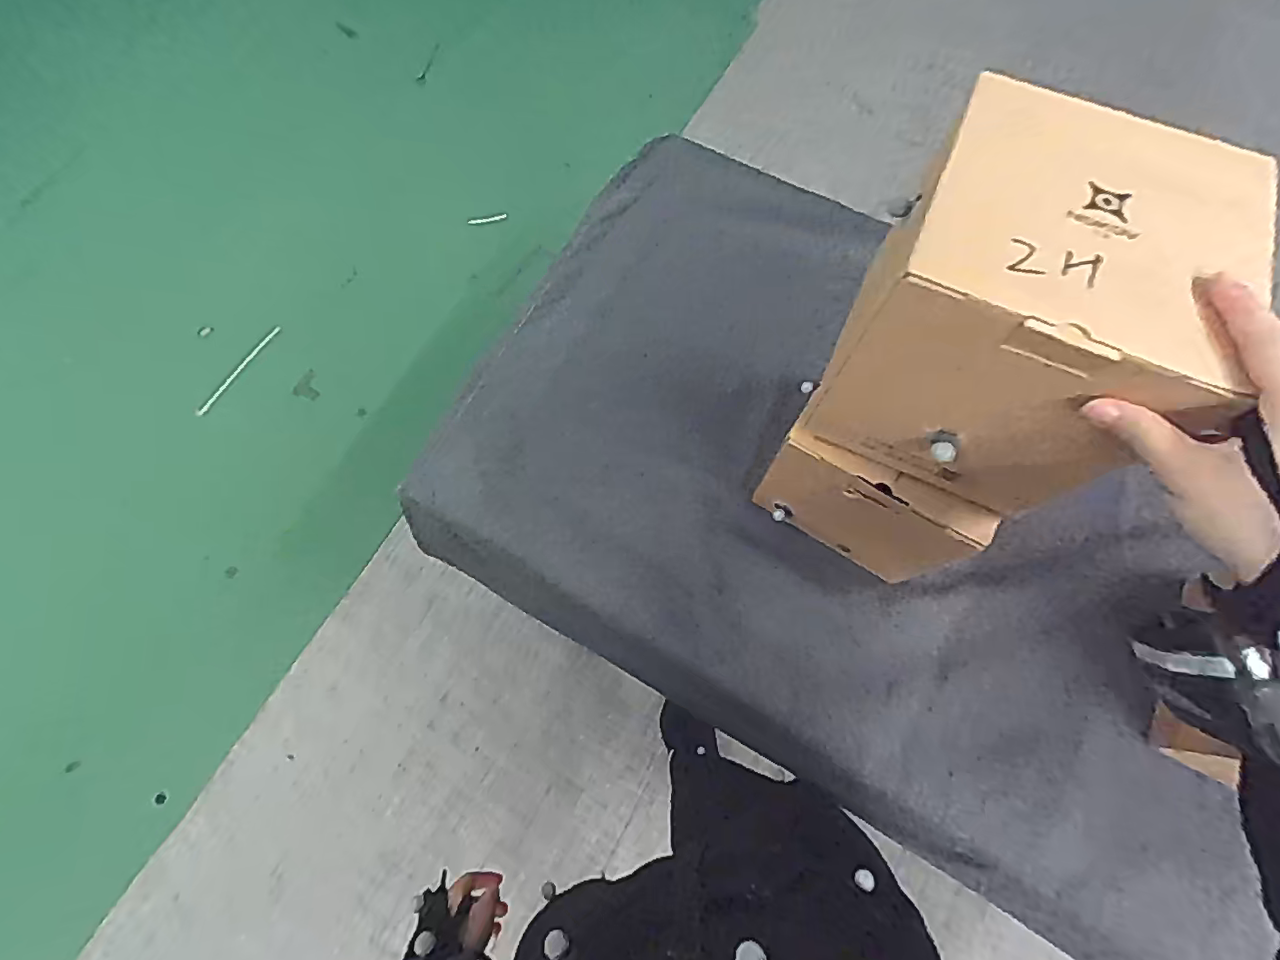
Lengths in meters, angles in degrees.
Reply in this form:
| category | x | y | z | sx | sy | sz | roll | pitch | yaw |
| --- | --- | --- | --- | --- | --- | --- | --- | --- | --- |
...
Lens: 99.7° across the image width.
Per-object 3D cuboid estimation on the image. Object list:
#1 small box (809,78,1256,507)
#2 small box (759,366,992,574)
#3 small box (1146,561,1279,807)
| category | x | y | z | sx | sy | sz | roll | pitch | yaw |
| --- | --- | --- | --- | --- | --- | --- | --- | --- | --- |
| small box | 0.234 | -0.109 | 0.361 | 0.168 | 0.176 | 0.179 | 24 | 70 | 8 |
| small box | 0.229 | -0.032 | 0.513 | 0.168 | 0.176 | 0.179 | 32 | 74 | 12 |
| small box | 0.567 | 0.178 | 0.430 | 0.168 | 0.176 | 0.179 | 27 | 74 | 10 |
